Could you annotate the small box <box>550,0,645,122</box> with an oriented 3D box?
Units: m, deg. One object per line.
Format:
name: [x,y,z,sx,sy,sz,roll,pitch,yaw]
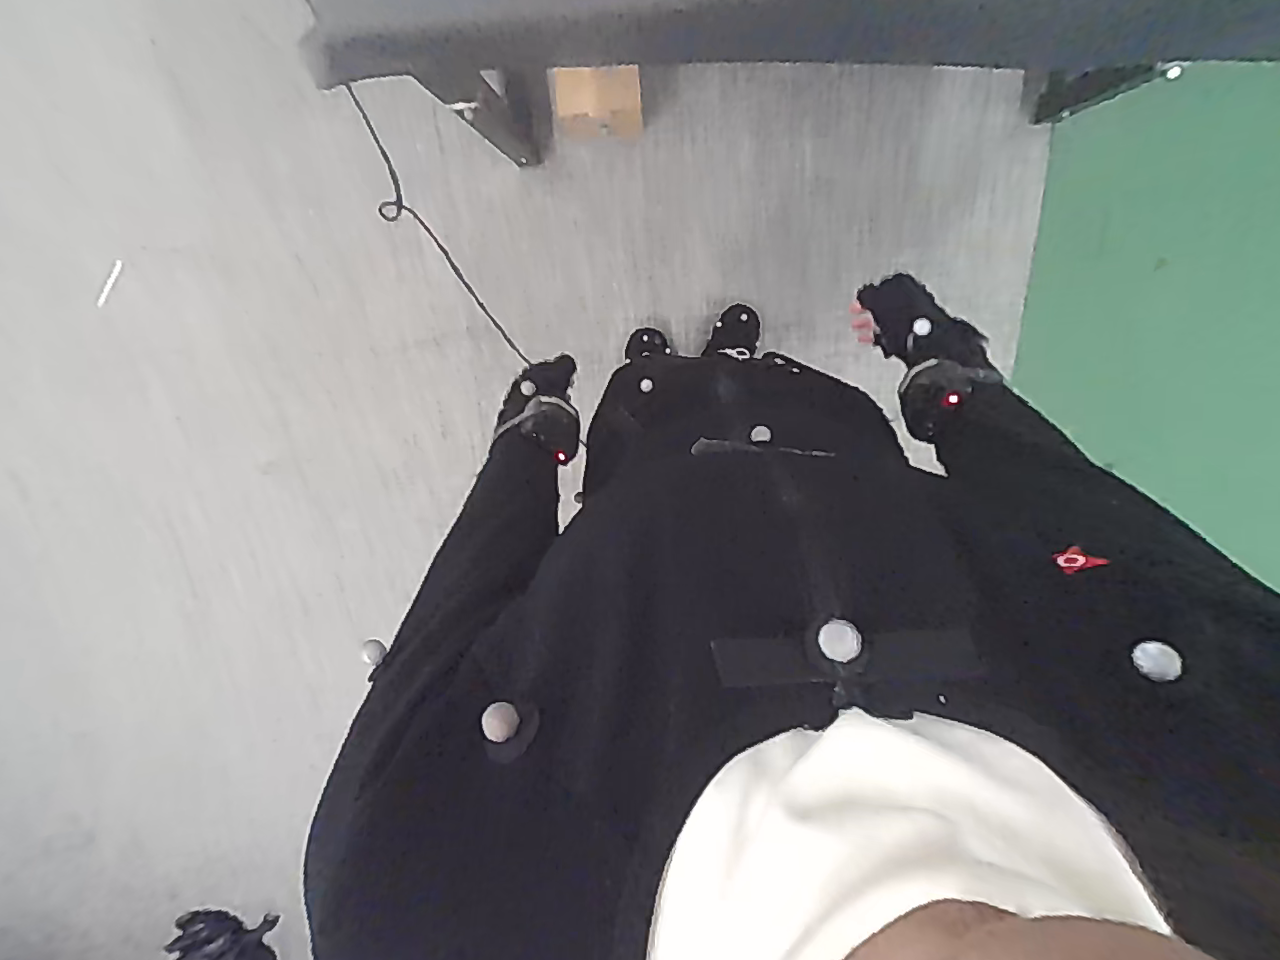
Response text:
small box: [-0.077,-0.842,1.089,0.168,0.176,0.179,-2,111,3]
